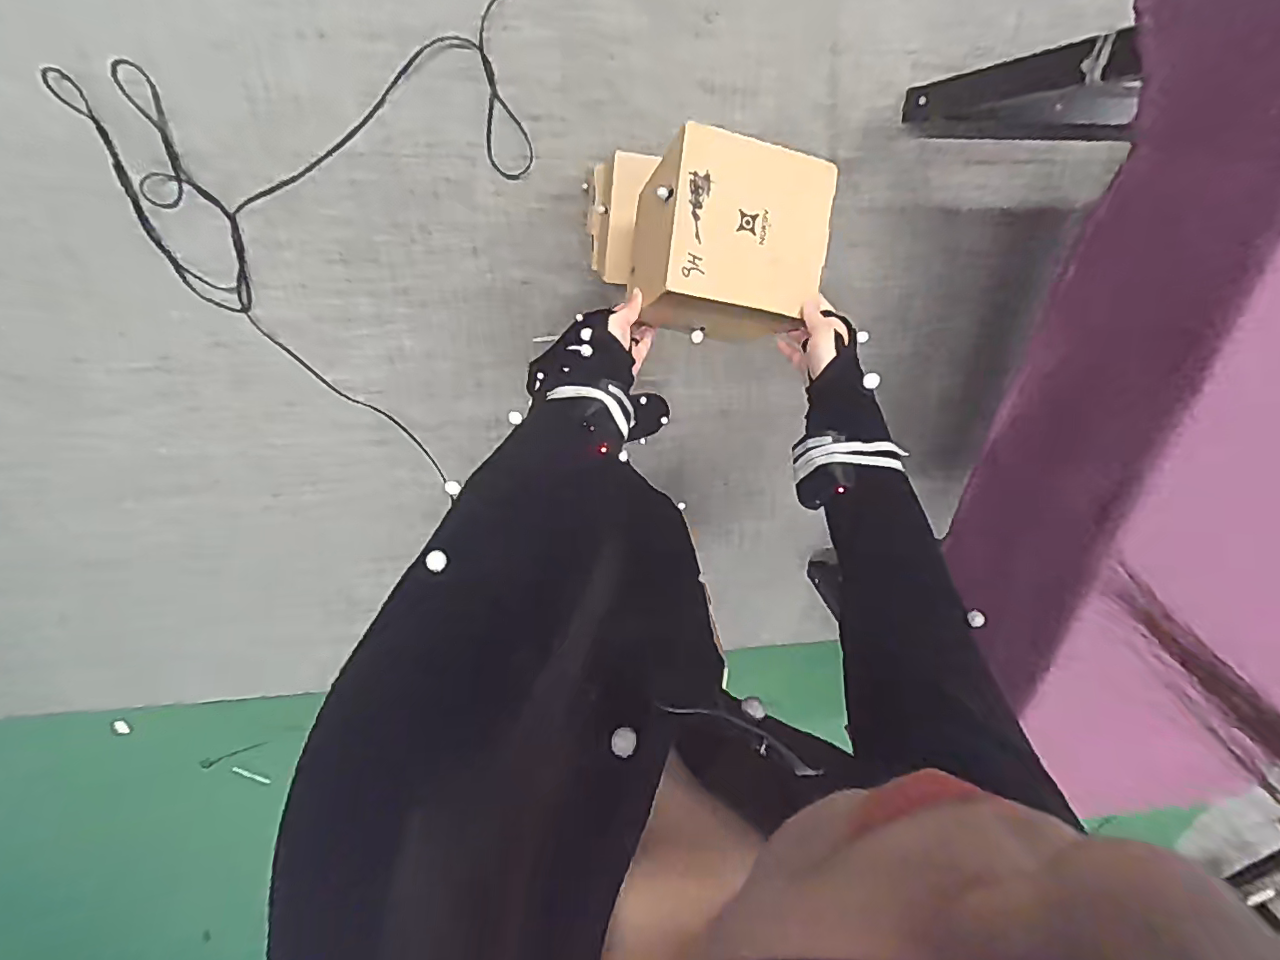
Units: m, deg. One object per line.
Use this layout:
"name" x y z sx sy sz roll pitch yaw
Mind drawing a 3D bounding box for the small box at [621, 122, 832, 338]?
"small box" 0.090 -0.269 0.634 0.179 0.176 0.168 6 93 -17

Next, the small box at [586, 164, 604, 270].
"small box" -0.010 -0.484 1.008 0.179 0.176 0.168 -1 119 -10

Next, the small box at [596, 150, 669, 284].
"small box" 0.021 -0.412 0.863 0.168 0.176 0.179 3 119 -10
